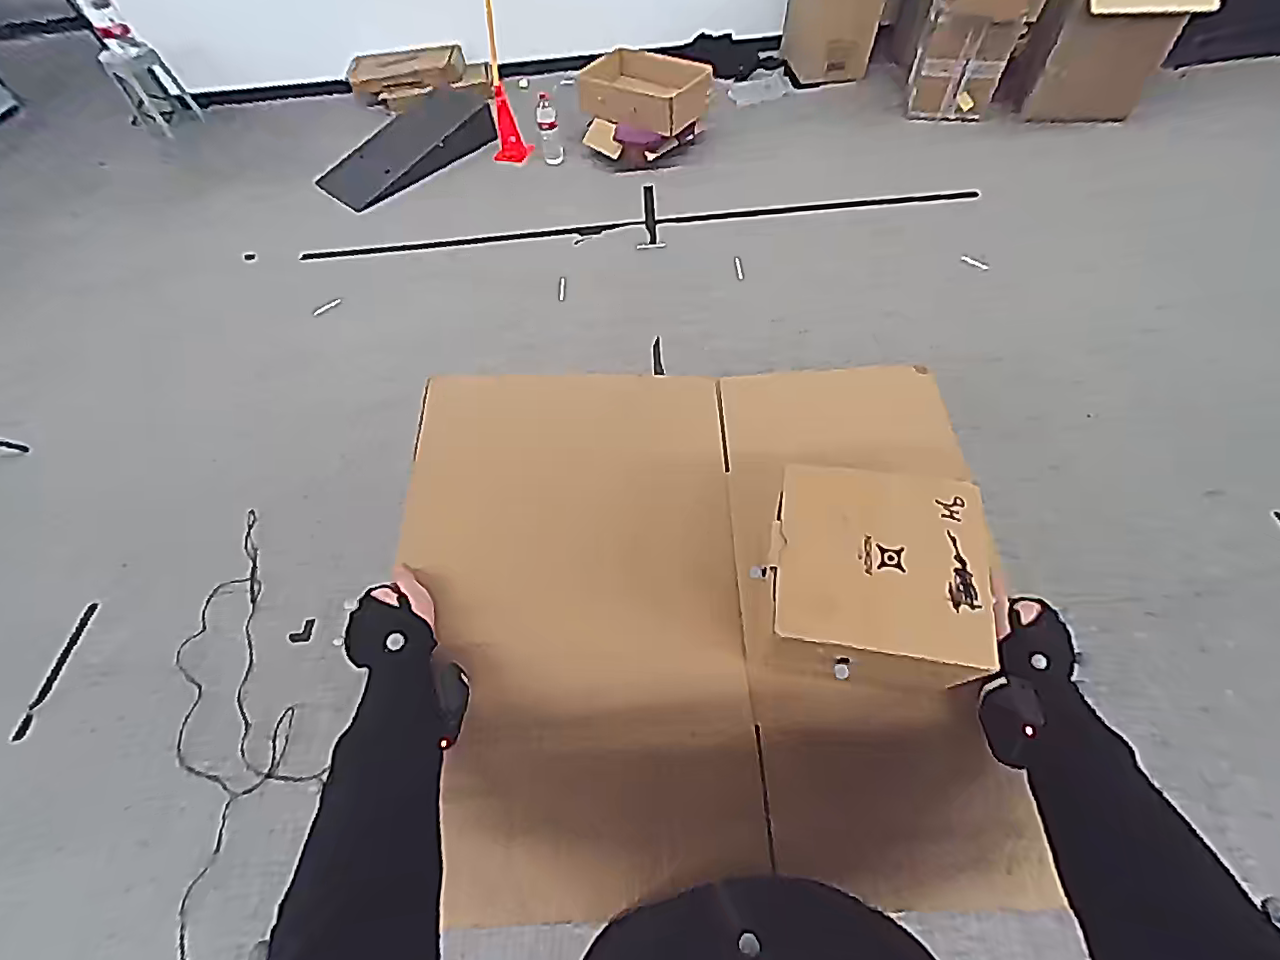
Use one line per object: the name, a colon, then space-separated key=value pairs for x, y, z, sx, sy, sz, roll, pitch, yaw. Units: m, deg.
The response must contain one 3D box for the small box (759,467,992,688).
small box: x=0.218 y=0.105 z=0.547 sx=0.179 sy=0.176 sz=0.168 roll=7 pitch=64 yaw=10
